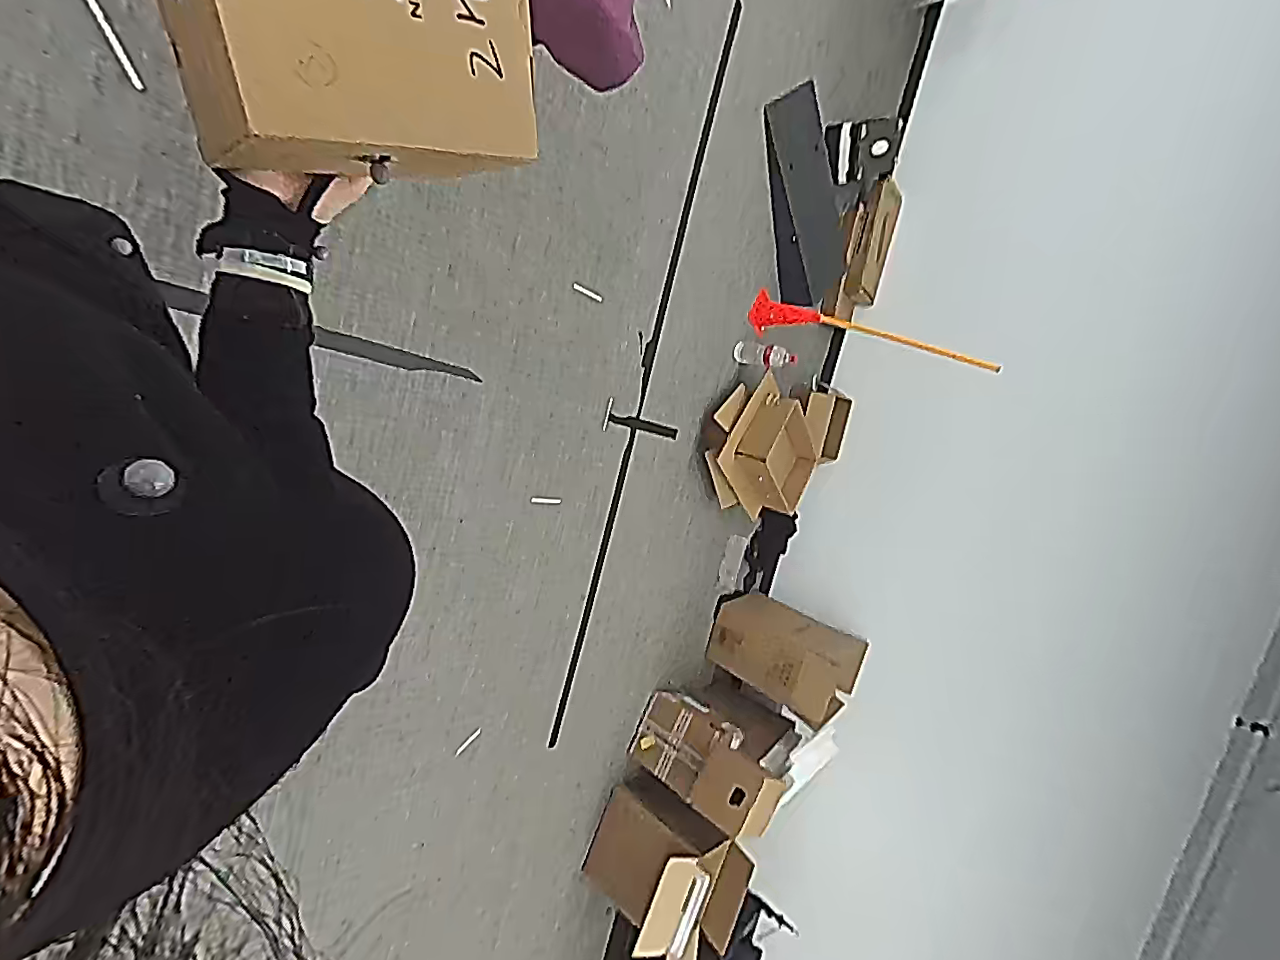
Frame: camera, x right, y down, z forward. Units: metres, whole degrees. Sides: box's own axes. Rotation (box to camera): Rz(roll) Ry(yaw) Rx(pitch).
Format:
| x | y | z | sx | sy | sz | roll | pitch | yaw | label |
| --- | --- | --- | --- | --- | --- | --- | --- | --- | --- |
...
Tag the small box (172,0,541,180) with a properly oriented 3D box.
| x | y | z | sx | sy | sz | roll | pitch | yaw | label |
| --- | --- | --- | --- | --- | --- | --- | --- | --- | --- |
| -0.189 | -0.298 | 0.353 | 0.179 | 0.176 | 0.168 | -22 | 122 | -38 | small box |
